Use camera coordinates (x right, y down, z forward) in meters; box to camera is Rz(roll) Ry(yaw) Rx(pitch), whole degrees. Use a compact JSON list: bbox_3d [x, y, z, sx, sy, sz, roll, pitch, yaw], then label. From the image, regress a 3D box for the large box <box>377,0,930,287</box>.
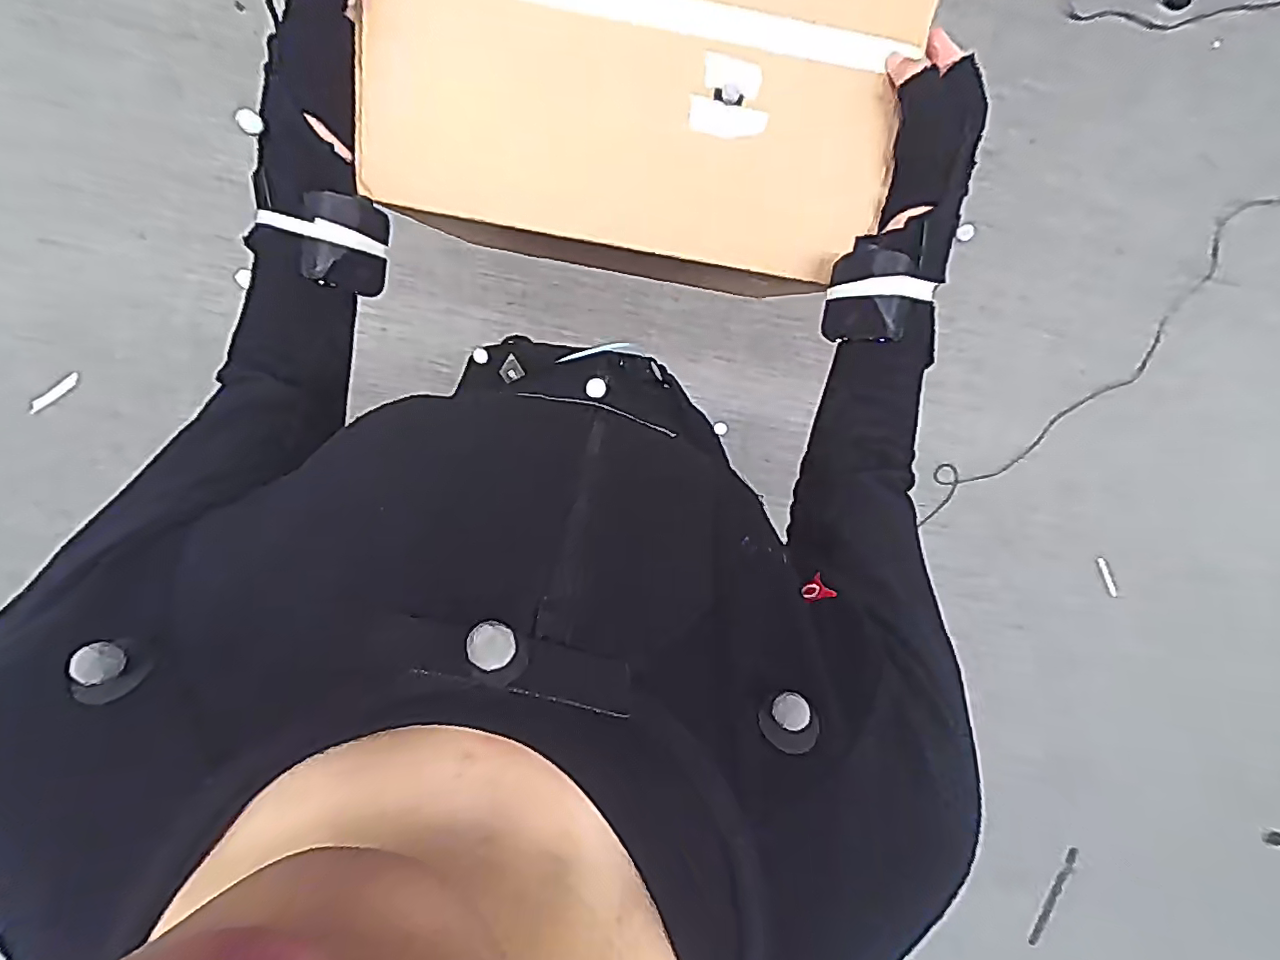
[{"bbox_3d":[0.004,-0.386,0.536,0.408,0.320,0.320,8,108,-6],"label":"large box"}]
